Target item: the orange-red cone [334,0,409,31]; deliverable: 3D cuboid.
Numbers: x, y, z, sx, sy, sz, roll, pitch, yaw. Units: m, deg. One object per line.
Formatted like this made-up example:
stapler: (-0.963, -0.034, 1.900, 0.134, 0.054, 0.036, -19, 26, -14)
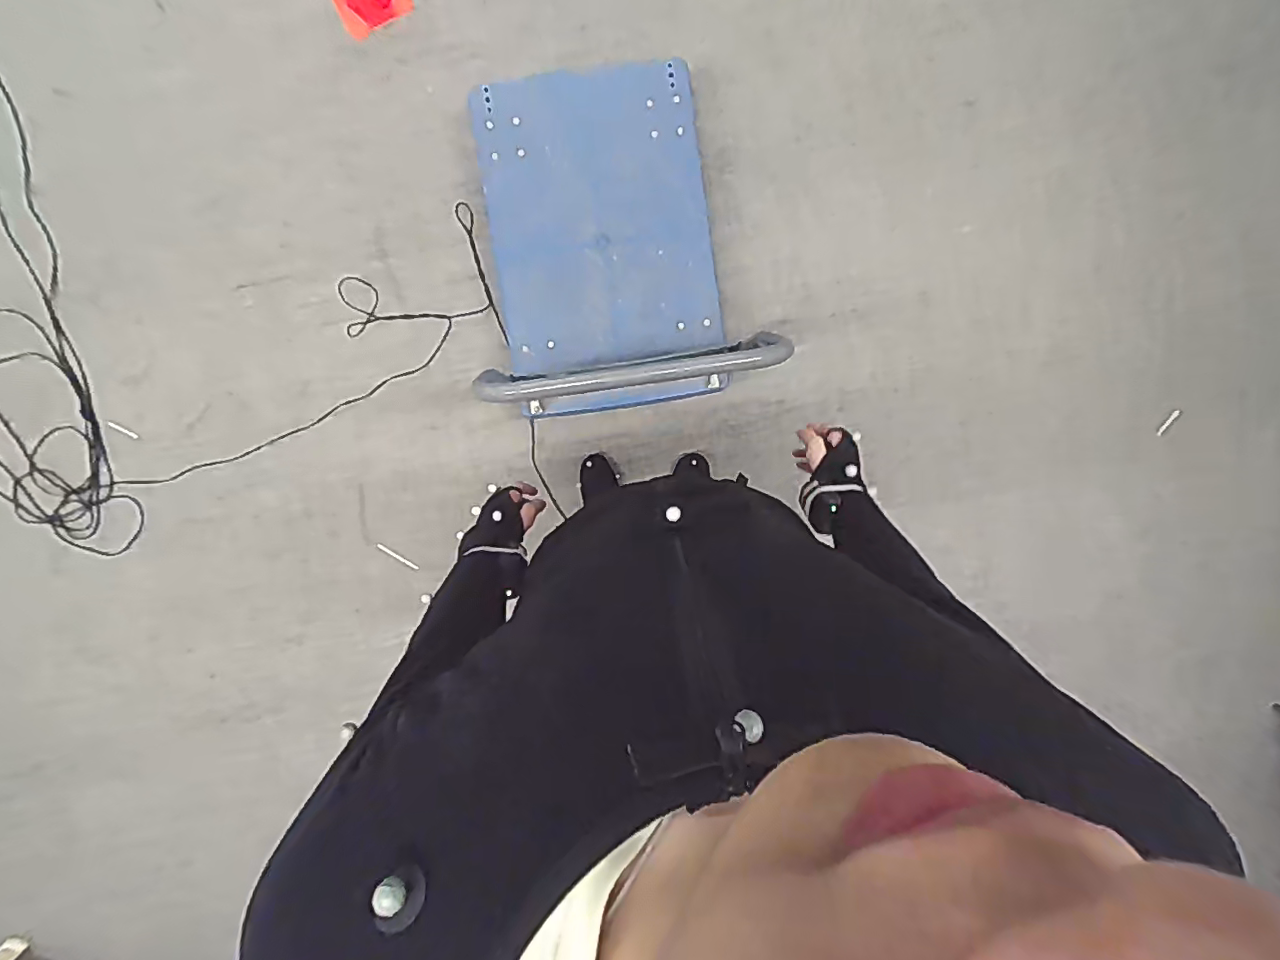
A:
orange-red cone: (-0.772, -1.379, 1.354, 0.199, 0.360, 0.198, -26, 93, 2)
